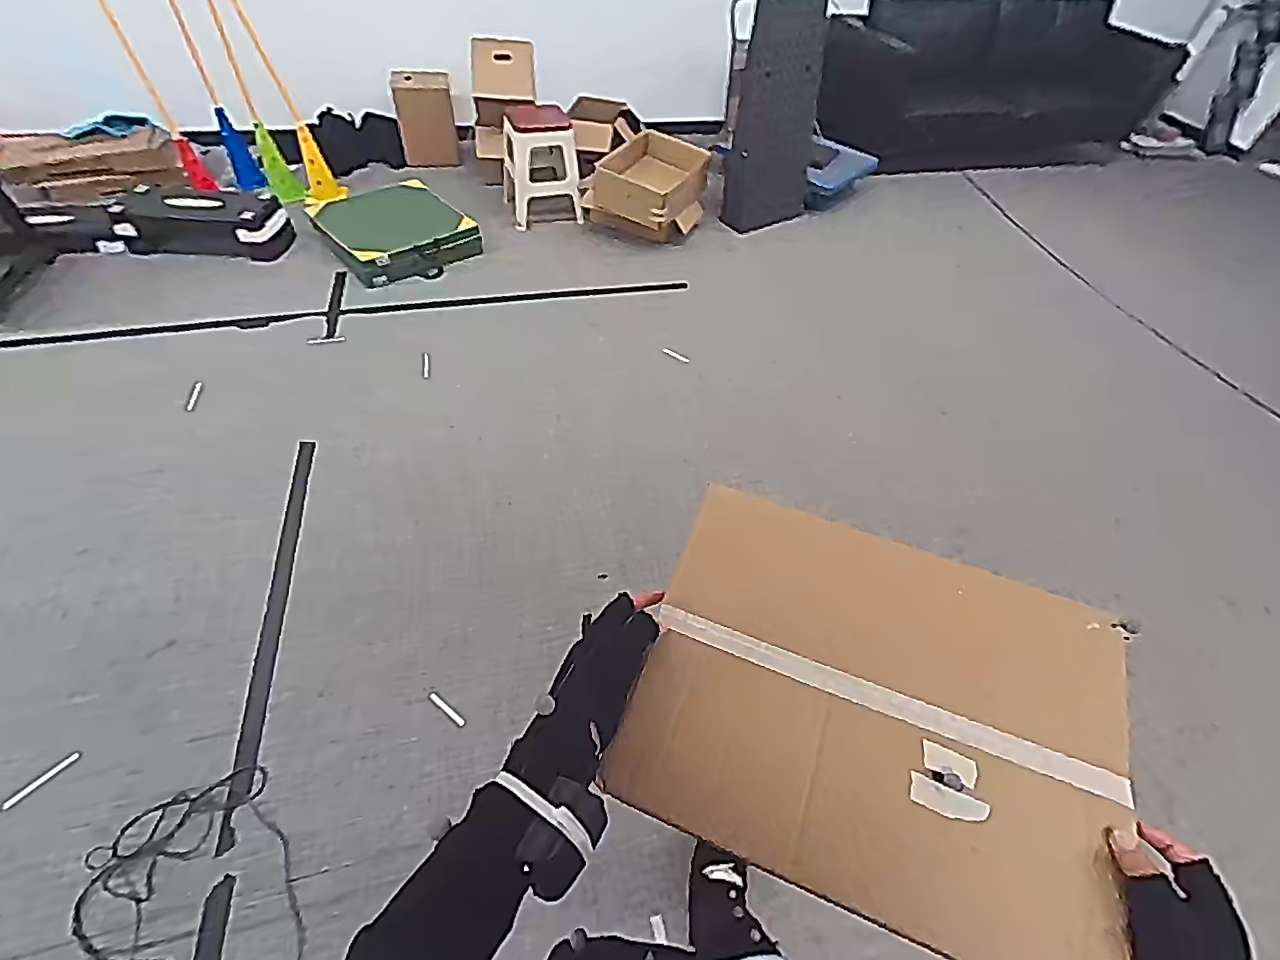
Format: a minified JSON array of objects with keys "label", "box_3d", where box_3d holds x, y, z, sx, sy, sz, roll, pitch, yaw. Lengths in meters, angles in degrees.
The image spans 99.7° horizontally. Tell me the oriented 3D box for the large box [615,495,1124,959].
[{"label":"large box","box_3d":[0.216,0.271,0.620,0.408,0.320,0.320,19,63,12]}]
